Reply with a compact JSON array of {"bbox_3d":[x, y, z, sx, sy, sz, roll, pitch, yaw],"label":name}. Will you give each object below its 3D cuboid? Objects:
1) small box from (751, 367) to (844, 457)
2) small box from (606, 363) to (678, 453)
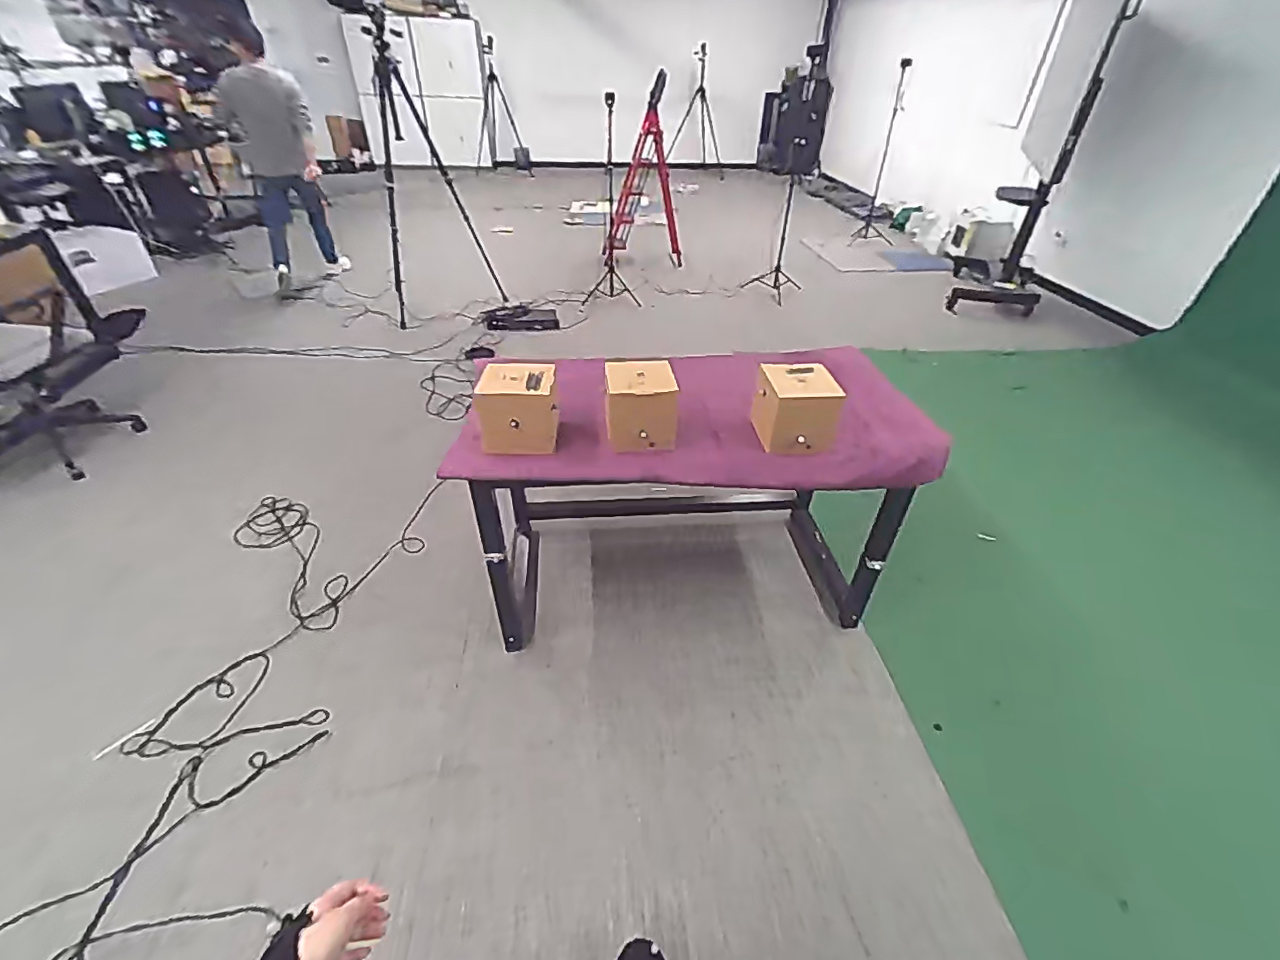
[{"bbox_3d":[0.393,-0.176,1.385,0.168,0.176,0.179,-2,38,-5],"label":"small box"},{"bbox_3d":[-0.002,-0.183,1.373,0.168,0.176,0.179,-3,37,-6],"label":"small box"}]
